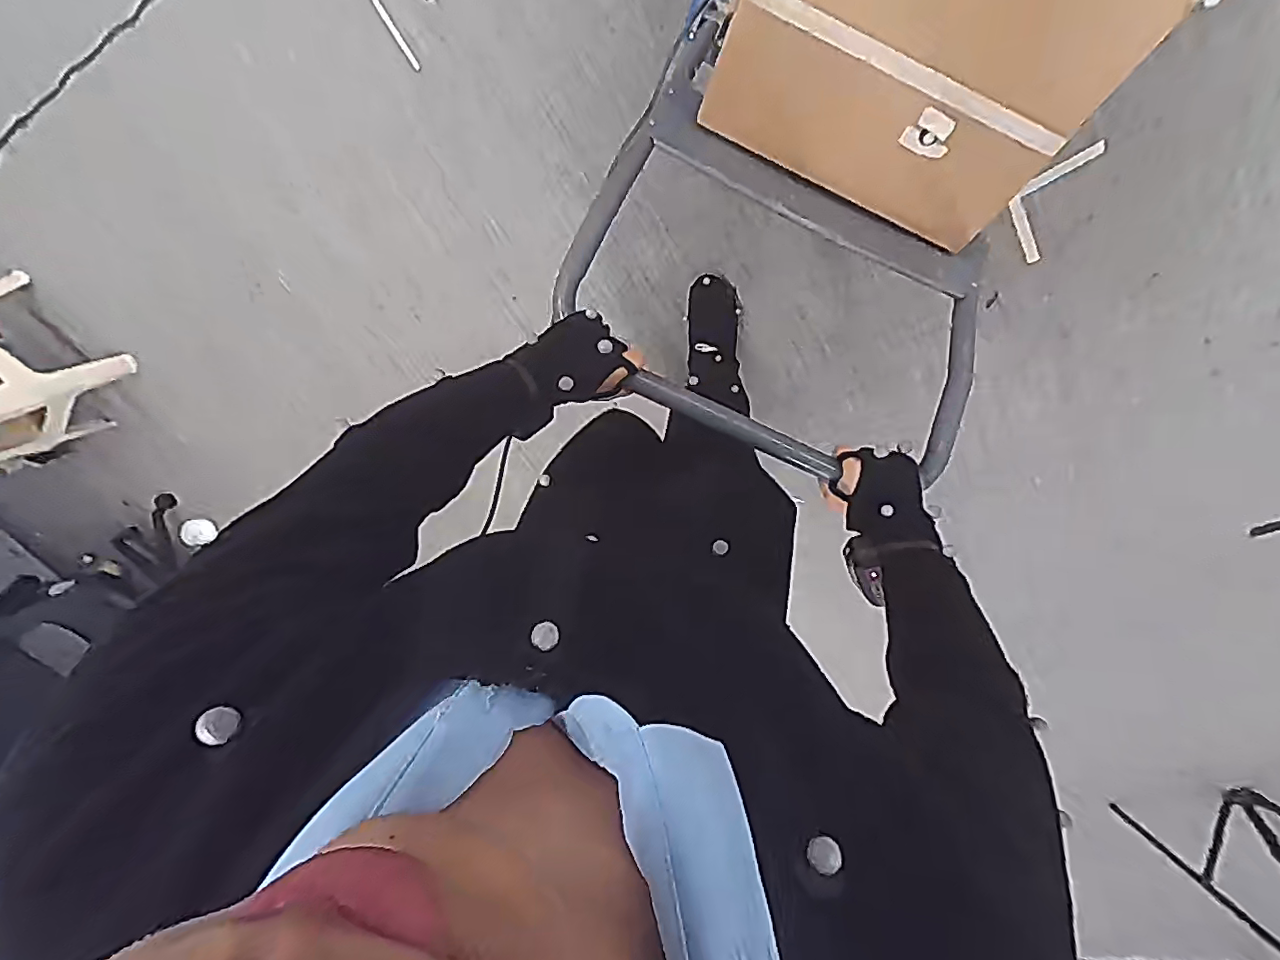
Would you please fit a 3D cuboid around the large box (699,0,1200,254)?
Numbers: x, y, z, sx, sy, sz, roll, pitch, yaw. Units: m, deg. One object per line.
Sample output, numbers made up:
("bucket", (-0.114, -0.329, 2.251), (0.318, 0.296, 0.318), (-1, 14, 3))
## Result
("large box", (0.340, -0.575, 0.680), (0.408, 0.320, 0.320), (23, 150, -5))
